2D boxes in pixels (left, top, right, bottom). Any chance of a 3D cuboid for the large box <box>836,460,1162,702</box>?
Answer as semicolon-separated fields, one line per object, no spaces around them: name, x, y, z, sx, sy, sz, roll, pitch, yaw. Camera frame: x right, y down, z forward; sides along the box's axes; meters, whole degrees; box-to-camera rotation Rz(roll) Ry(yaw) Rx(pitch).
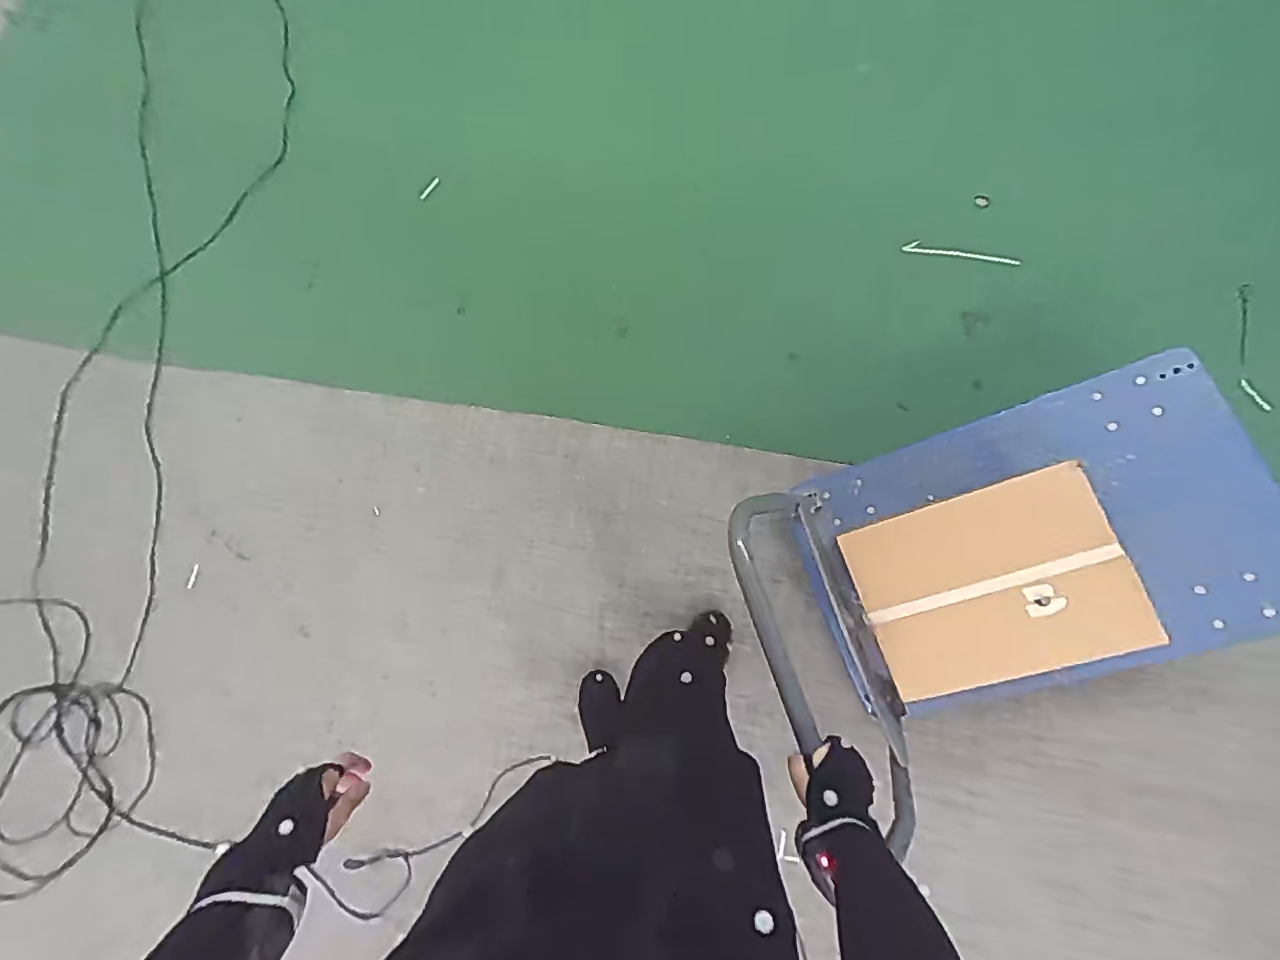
large box;0.639;0.195;1.062;0.408;0.320;0.320;-22;78;16
